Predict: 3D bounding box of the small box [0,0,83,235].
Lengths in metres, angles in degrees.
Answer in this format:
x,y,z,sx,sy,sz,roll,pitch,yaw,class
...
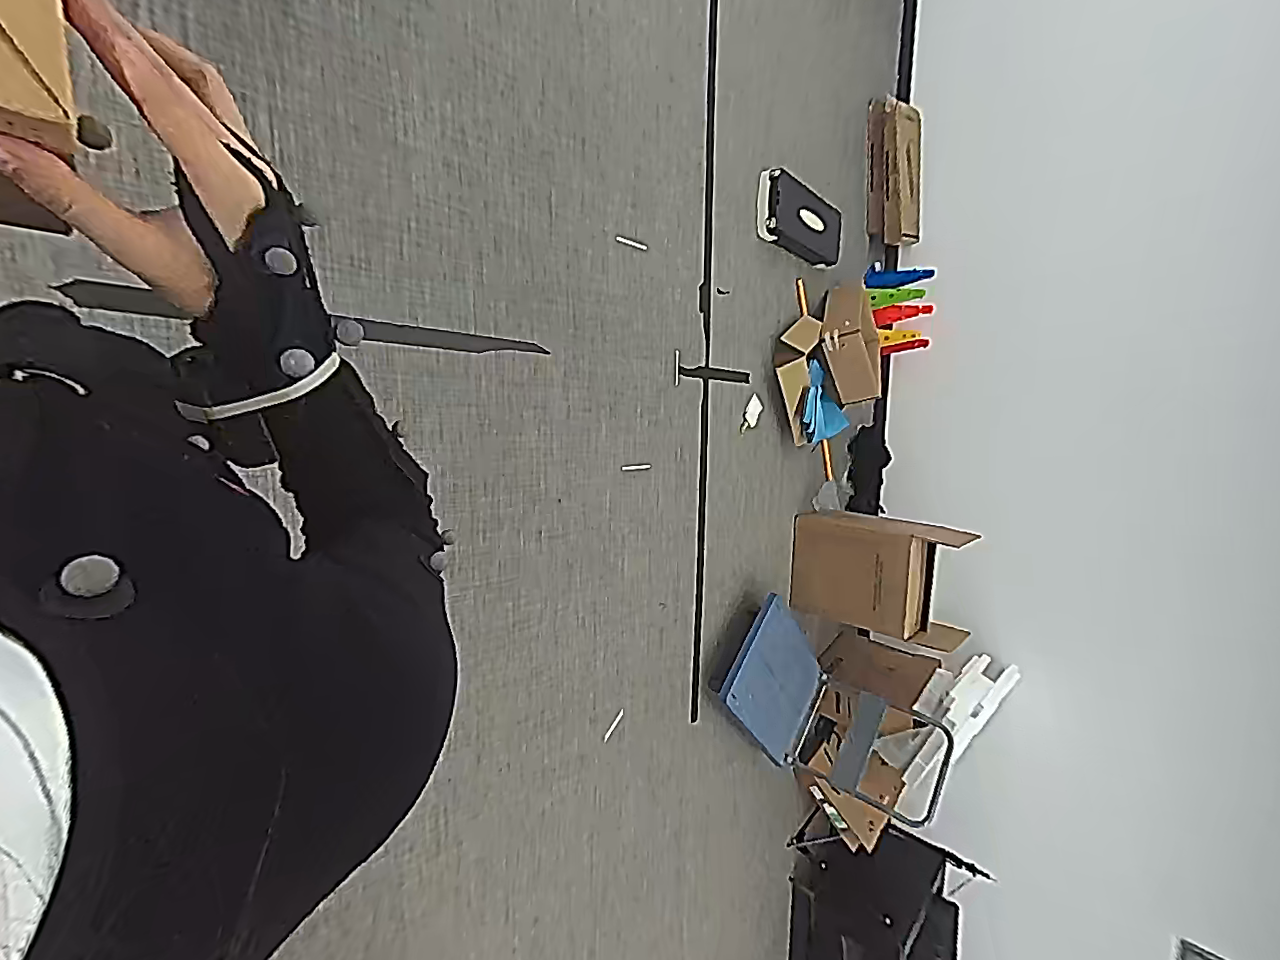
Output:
x,y,z,sx,sy,sz,roll,pitch,yaw,class
-0.318,-0.211,0.185,0.168,0.176,0.179,-7,99,-48,small box
